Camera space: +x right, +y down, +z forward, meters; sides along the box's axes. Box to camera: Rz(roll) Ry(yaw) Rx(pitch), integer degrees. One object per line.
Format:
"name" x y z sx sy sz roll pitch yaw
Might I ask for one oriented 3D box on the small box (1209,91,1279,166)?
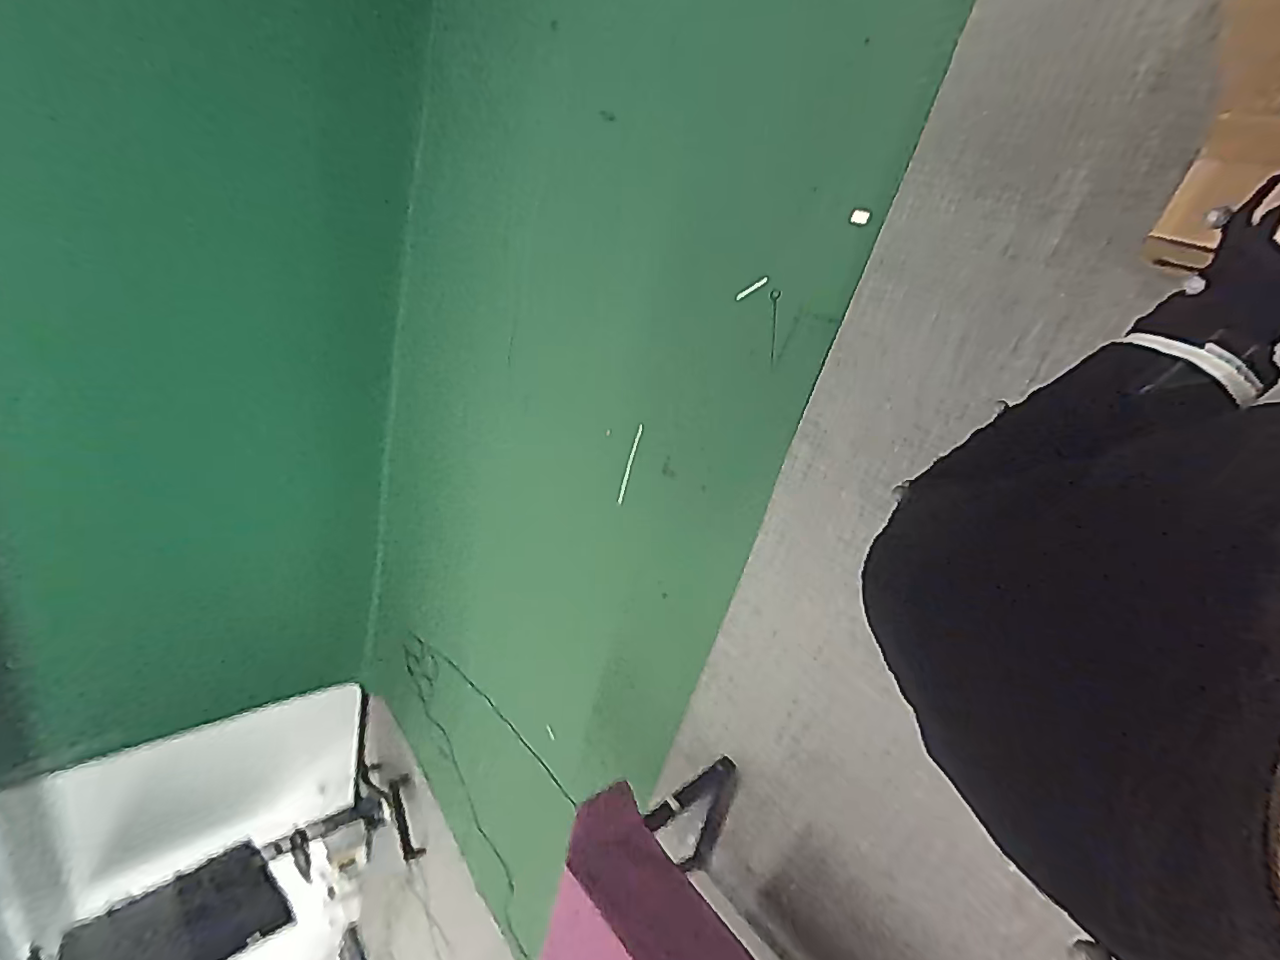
"small box" 0.887 -0.514 0.686 0.168 0.176 0.179 39 118 36
